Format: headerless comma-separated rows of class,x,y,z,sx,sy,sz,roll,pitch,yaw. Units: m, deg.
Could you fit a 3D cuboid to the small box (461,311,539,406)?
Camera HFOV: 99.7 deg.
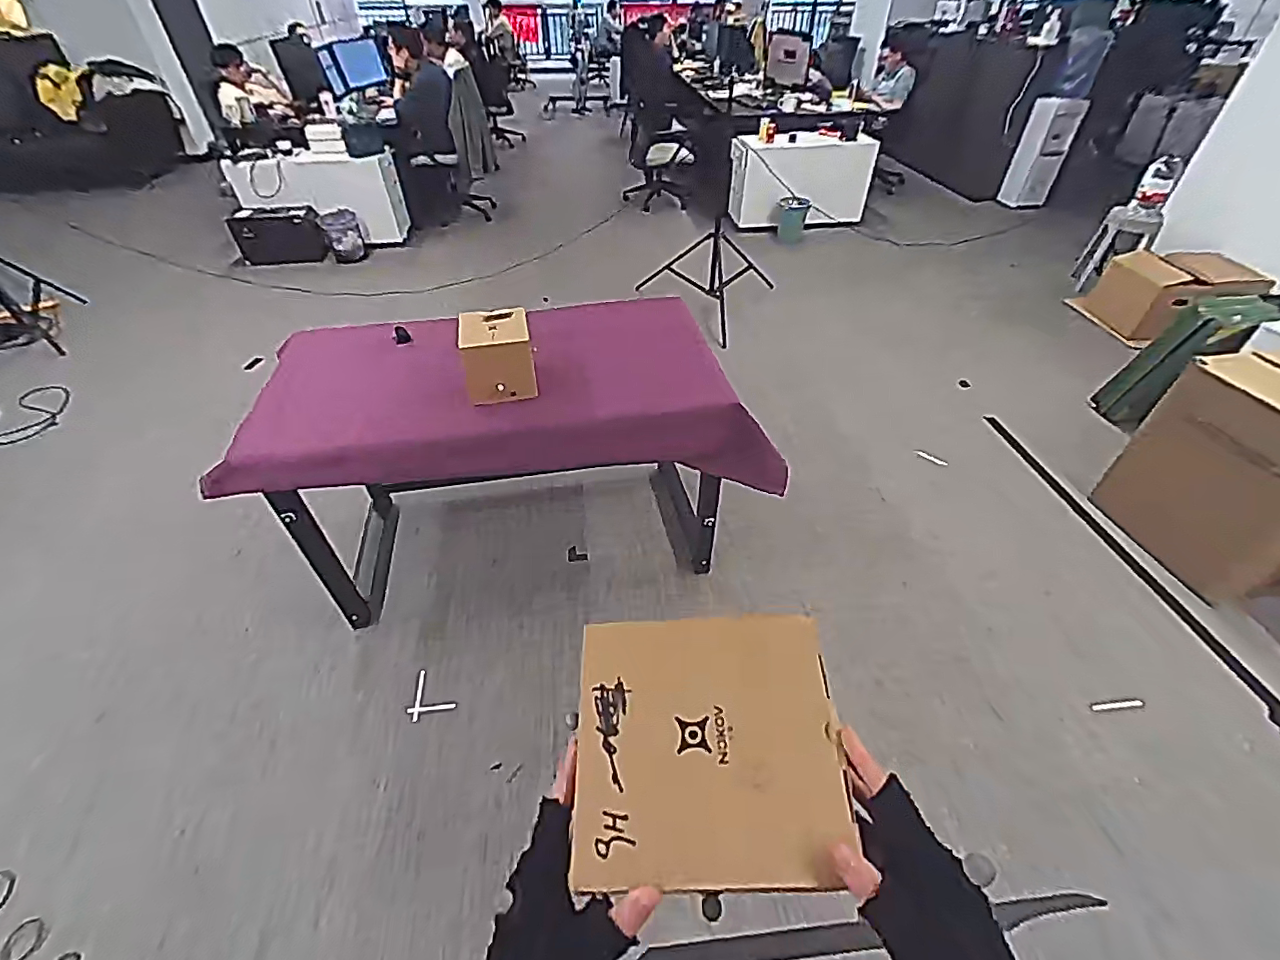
small box,-0.355,-0.312,1.387,0.168,0.176,0.179,-9,44,-9
